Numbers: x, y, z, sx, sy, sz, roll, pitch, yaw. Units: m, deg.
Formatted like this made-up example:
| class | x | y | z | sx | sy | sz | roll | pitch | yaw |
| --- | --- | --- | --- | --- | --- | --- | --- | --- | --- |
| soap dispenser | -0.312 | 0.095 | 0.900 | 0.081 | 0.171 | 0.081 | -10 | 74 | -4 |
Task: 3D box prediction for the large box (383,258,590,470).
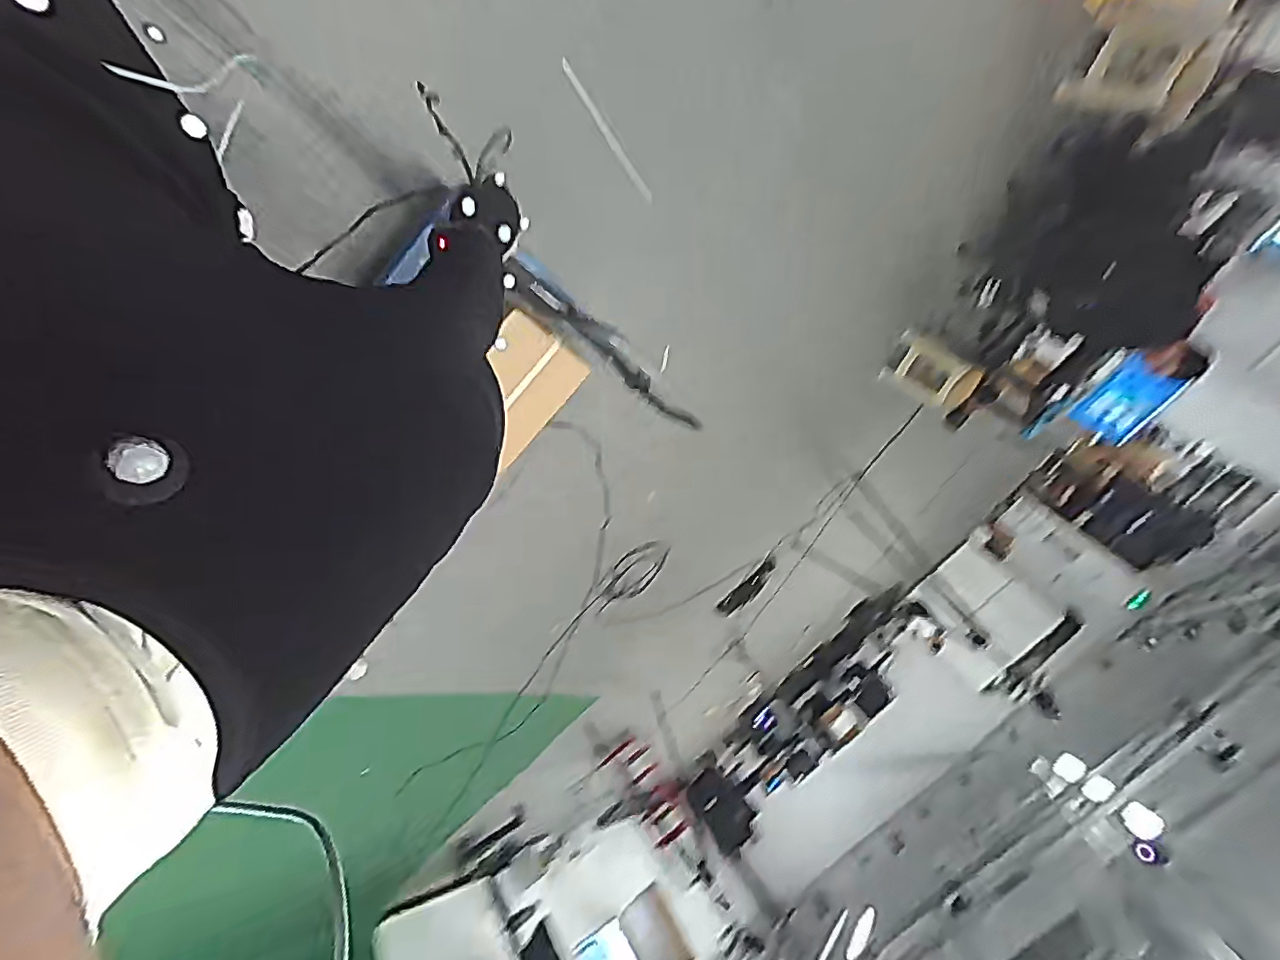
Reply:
| class | x | y | z | sx | sy | sz | roll | pitch | yaw |
| --- | --- | --- | --- | --- | --- | --- | --- | --- | --- |
| large box | -0.419 | -0.306 | 1.476 | 0.408 | 0.320 | 0.320 | -46 | 145 | 11 |
